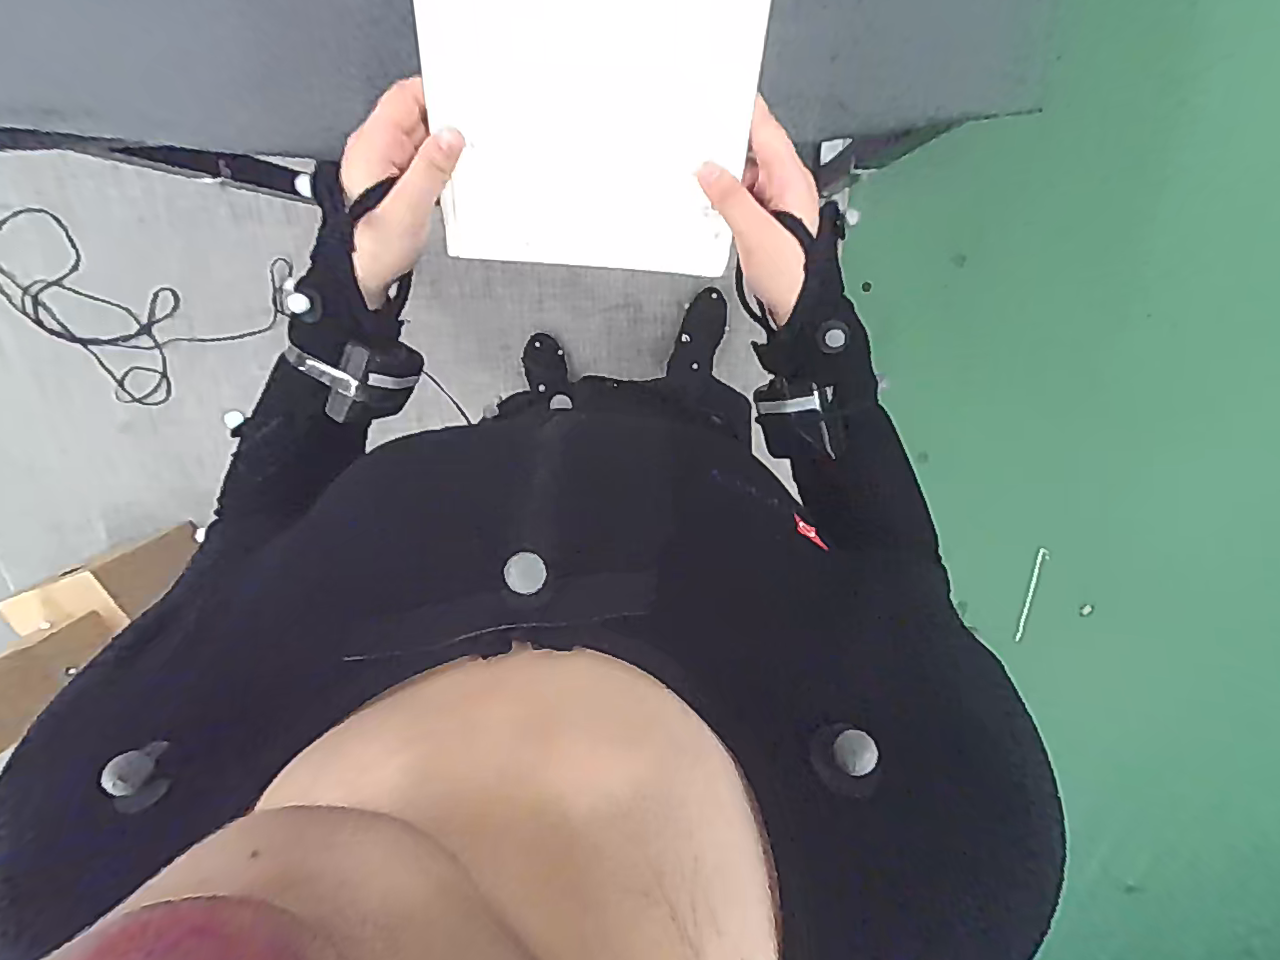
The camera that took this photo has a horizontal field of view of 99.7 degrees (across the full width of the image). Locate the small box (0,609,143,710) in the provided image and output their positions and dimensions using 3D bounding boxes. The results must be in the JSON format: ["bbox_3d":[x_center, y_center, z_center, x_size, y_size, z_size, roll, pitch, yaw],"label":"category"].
[{"bbox_3d":[-1.415,0.454,1.345,0.168,0.176,0.179,-18,108,8],"label":"small box"}]

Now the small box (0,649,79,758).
[{"bbox_3d":[-1.424,0.496,1.188,0.168,0.176,0.179,-17,109,7],"label":"small box"}]
